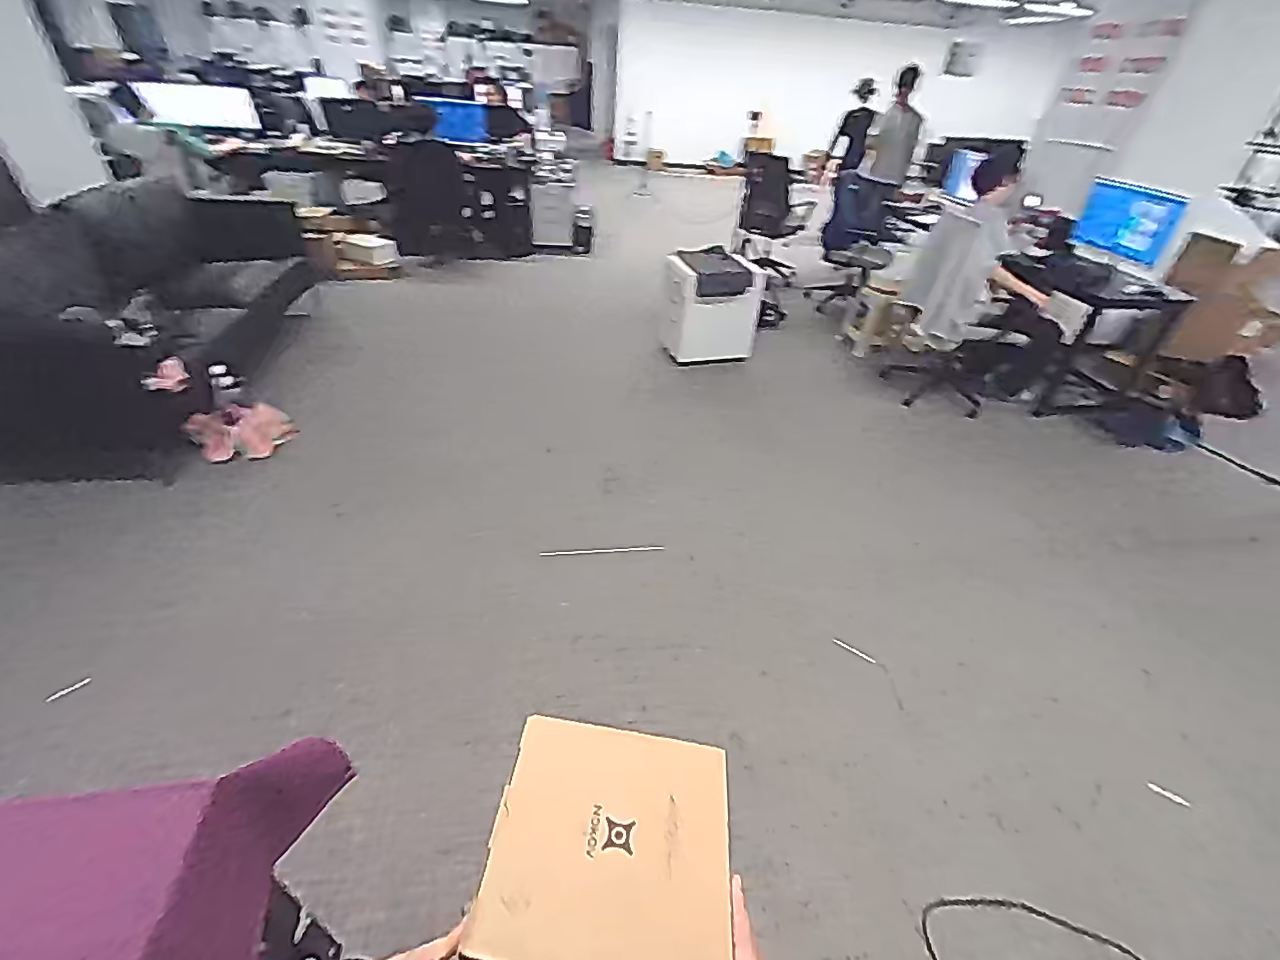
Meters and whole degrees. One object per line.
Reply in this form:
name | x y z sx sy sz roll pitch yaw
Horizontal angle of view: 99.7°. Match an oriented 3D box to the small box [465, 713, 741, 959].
small box | -0.026 0.325 0.436 0.179 0.176 0.168 12 33 1
